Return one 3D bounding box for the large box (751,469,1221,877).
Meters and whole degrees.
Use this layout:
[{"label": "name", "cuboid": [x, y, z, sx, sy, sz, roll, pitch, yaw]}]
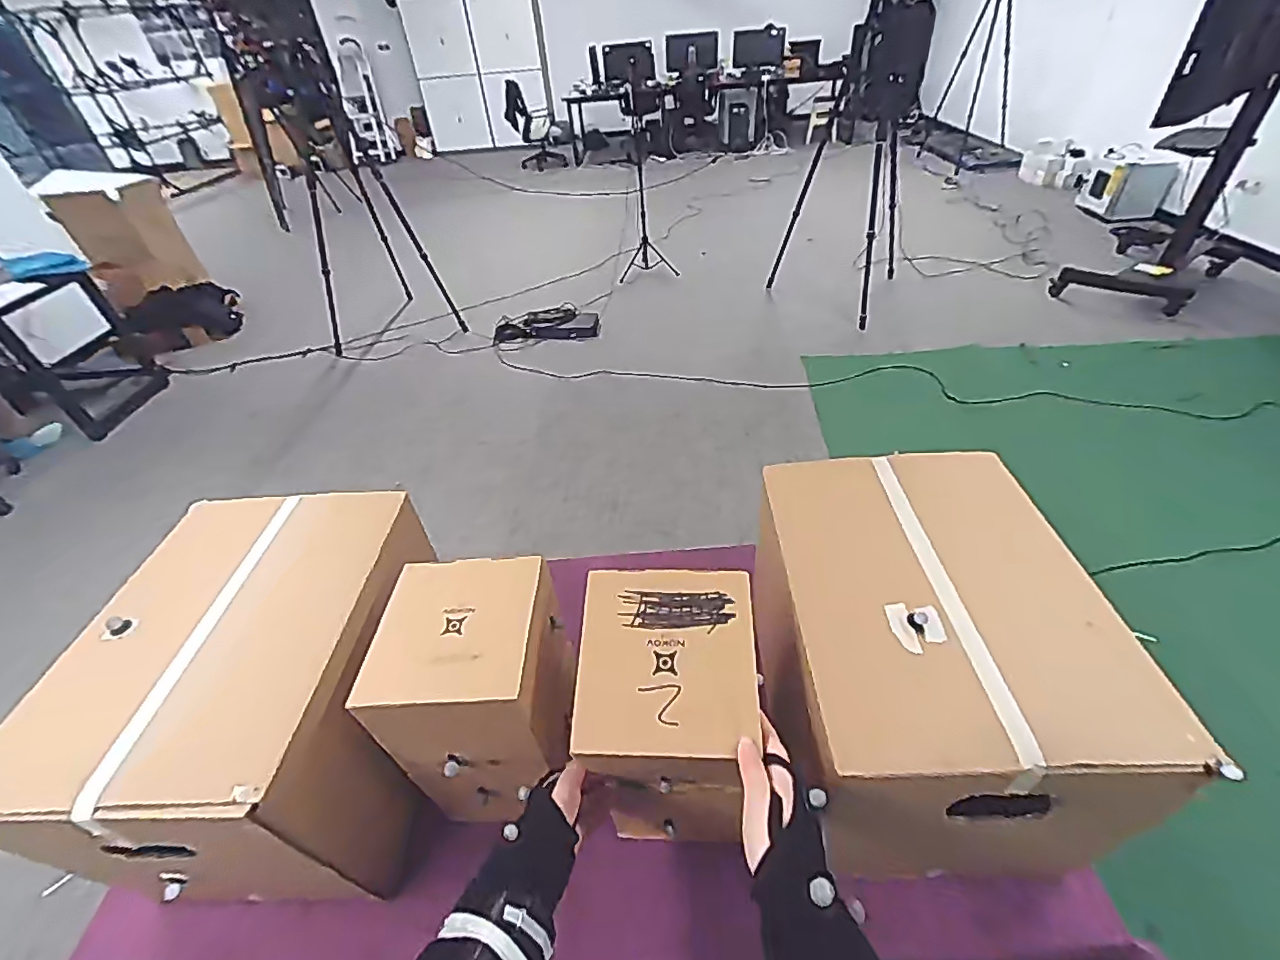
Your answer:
[{"label": "large box", "cuboid": [0.336, 0.230, 0.695, 0.320, 0.320, 0.408, -2, 41, 4]}]
